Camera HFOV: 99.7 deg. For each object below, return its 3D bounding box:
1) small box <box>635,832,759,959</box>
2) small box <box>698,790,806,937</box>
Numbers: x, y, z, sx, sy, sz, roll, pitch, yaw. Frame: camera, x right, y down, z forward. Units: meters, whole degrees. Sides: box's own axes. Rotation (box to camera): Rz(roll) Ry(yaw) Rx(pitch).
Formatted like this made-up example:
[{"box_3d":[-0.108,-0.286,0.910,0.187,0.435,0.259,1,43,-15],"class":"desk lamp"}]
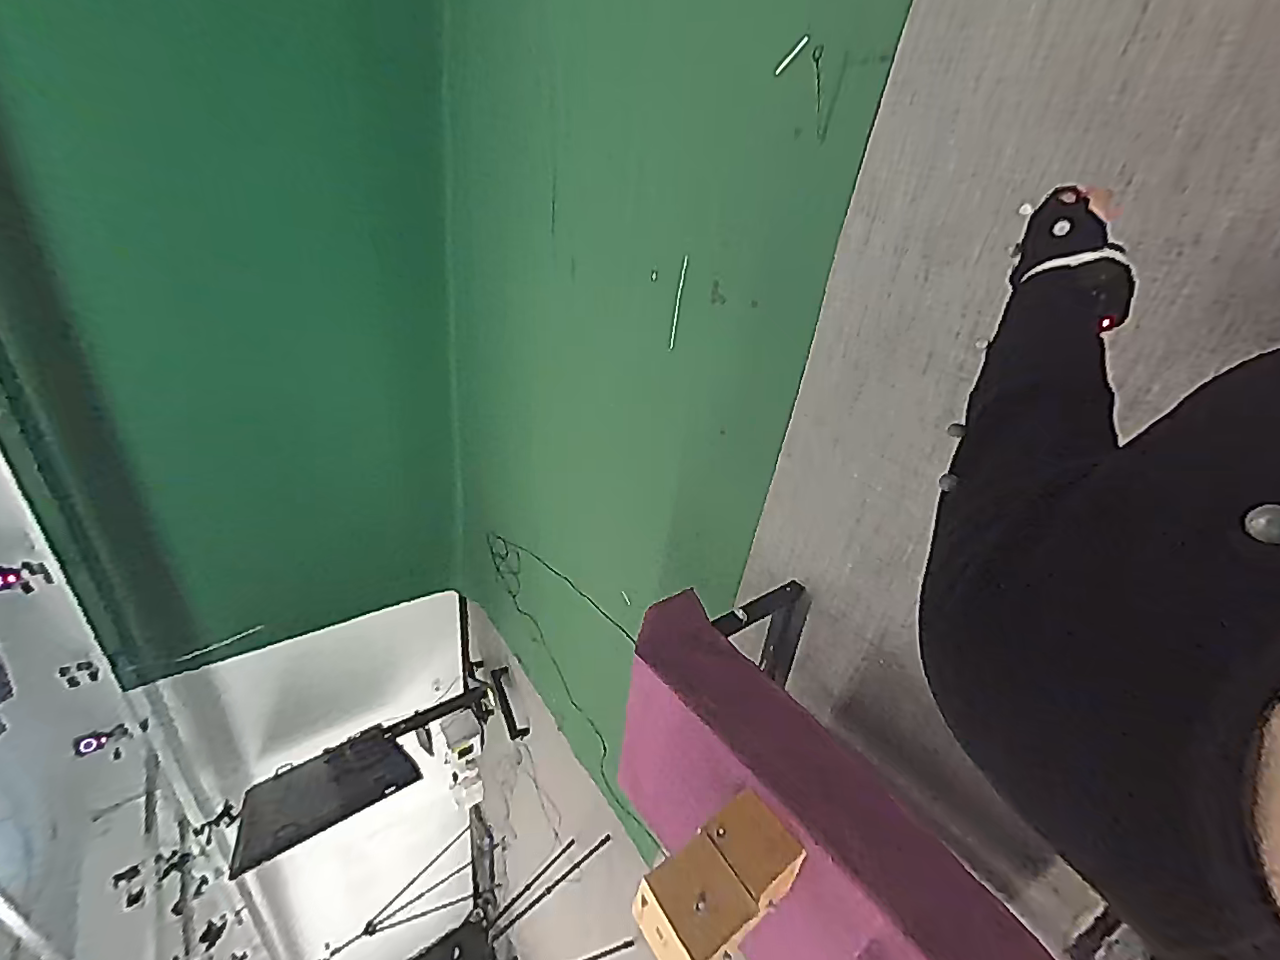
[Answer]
[{"box_3d":[0.115,0.882,1.110,0.179,0.176,0.168,41,133,39],"class":"small box"},{"box_3d":[0.242,0.848,1.210,0.179,0.176,0.168,37,130,43],"class":"small box"}]
